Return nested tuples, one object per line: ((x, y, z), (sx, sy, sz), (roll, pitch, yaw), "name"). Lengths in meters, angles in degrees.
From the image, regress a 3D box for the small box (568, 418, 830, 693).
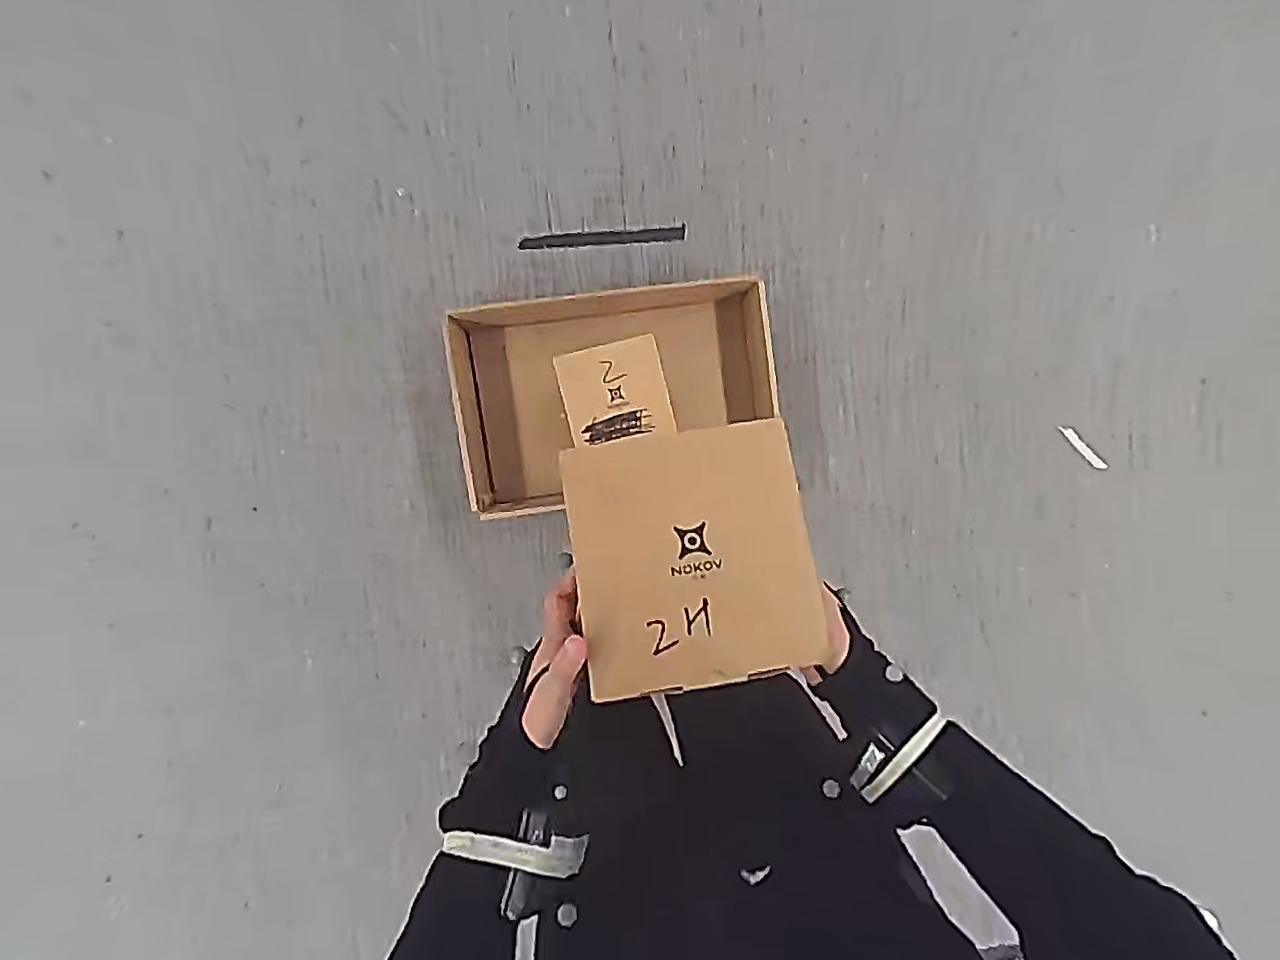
((0.035, 0.062, 0.459), (0.168, 0.176, 0.179), (-9, 81, -3), "small box")

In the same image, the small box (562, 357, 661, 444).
((-0.058, -0.137, 1.095), (0.168, 0.176, 0.179), (-13, 96, -3), "small box")
